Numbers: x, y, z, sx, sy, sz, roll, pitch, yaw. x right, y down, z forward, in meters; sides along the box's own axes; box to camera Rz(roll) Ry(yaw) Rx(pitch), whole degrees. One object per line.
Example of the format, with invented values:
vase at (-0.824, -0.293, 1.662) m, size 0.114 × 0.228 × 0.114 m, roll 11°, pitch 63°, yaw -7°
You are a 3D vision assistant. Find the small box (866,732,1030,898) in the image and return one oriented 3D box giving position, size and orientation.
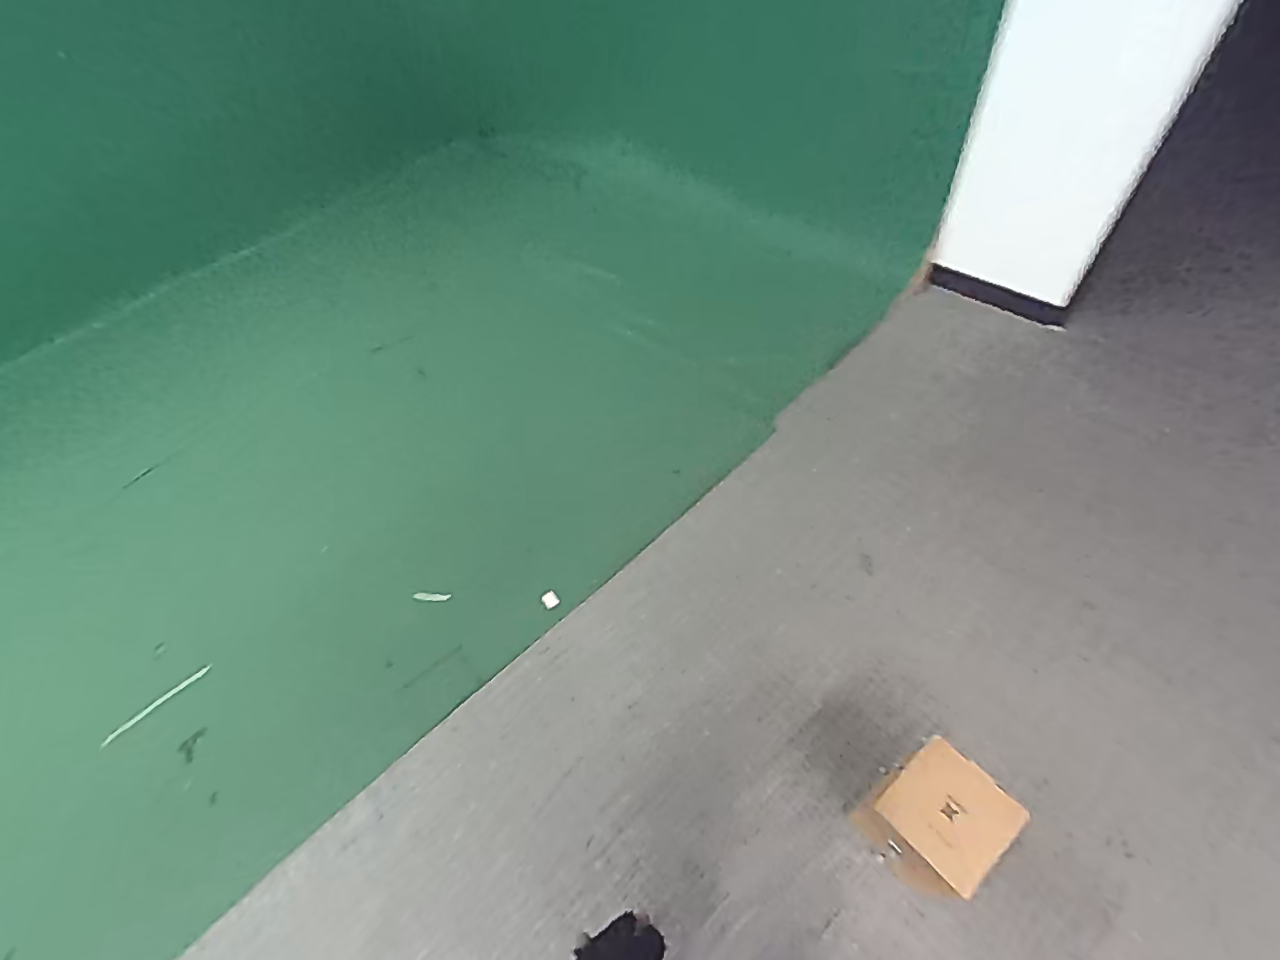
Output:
small box at (0.518, 0.578, 0.940) m, size 0.179 × 0.176 × 0.168 m, roll -39°, pitch 55°, yaw -14°

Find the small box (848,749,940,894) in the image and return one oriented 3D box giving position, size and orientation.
small box at (0.543, 0.671, 1.072) m, size 0.168 × 0.176 × 0.179 m, roll -36°, pitch 56°, yaw -14°
